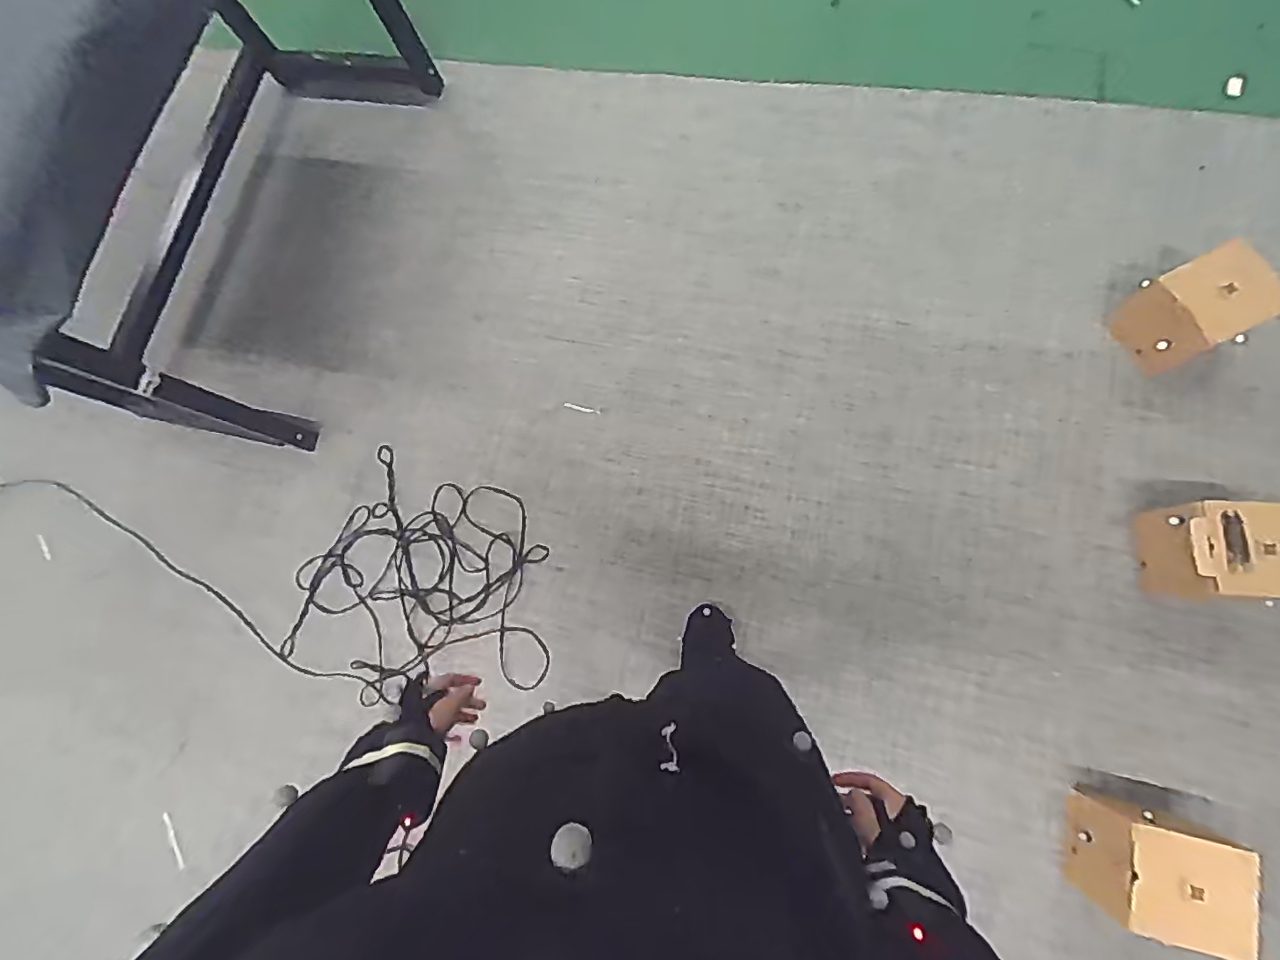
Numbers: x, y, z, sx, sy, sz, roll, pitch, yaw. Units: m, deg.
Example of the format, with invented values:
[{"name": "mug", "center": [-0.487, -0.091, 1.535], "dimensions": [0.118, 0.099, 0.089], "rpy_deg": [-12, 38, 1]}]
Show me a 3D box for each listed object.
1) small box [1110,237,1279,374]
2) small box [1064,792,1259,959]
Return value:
[{"name": "small box", "center": [1.123, -0.344, 1.102], "dimensions": [0.179, 0.176, 0.168], "rpy_deg": [-27, 77, 1]}, {"name": "small box", "center": [0.875, 0.664, 0.922], "dimensions": [0.179, 0.176, 0.168], "rpy_deg": [10, 80, 11]}]
